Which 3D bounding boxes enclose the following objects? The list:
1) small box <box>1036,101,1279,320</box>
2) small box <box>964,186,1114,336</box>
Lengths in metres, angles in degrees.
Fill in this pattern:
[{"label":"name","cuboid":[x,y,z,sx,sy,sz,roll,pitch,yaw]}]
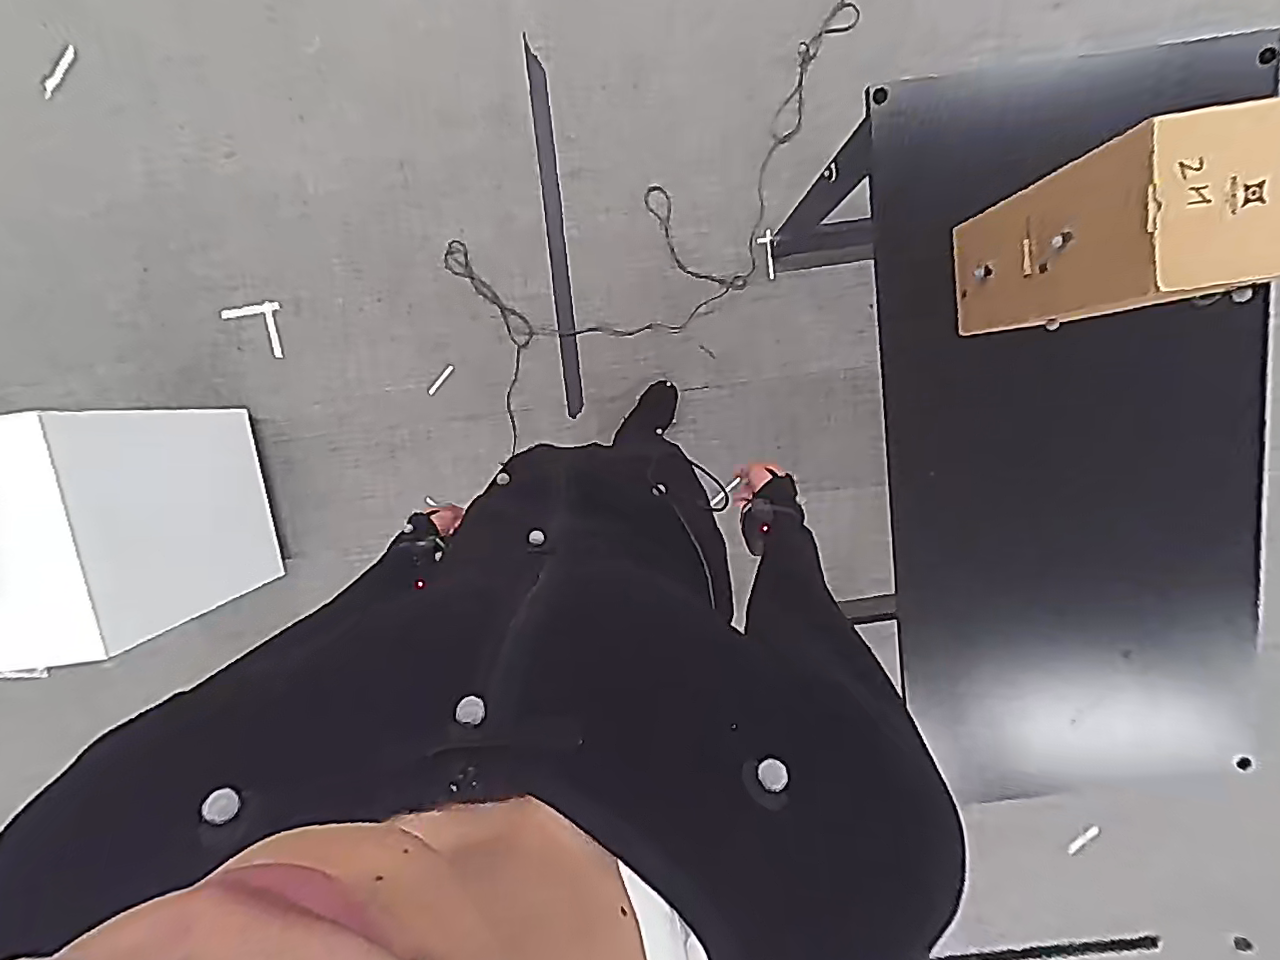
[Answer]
[{"label":"small box","cuboid":[0.581,-0.281,0.593,0.179,0.176,0.168,-8,97,2]},{"label":"small box","cuboid":[0.581,-0.303,0.756,0.179,0.176,0.168,-8,98,2]}]
